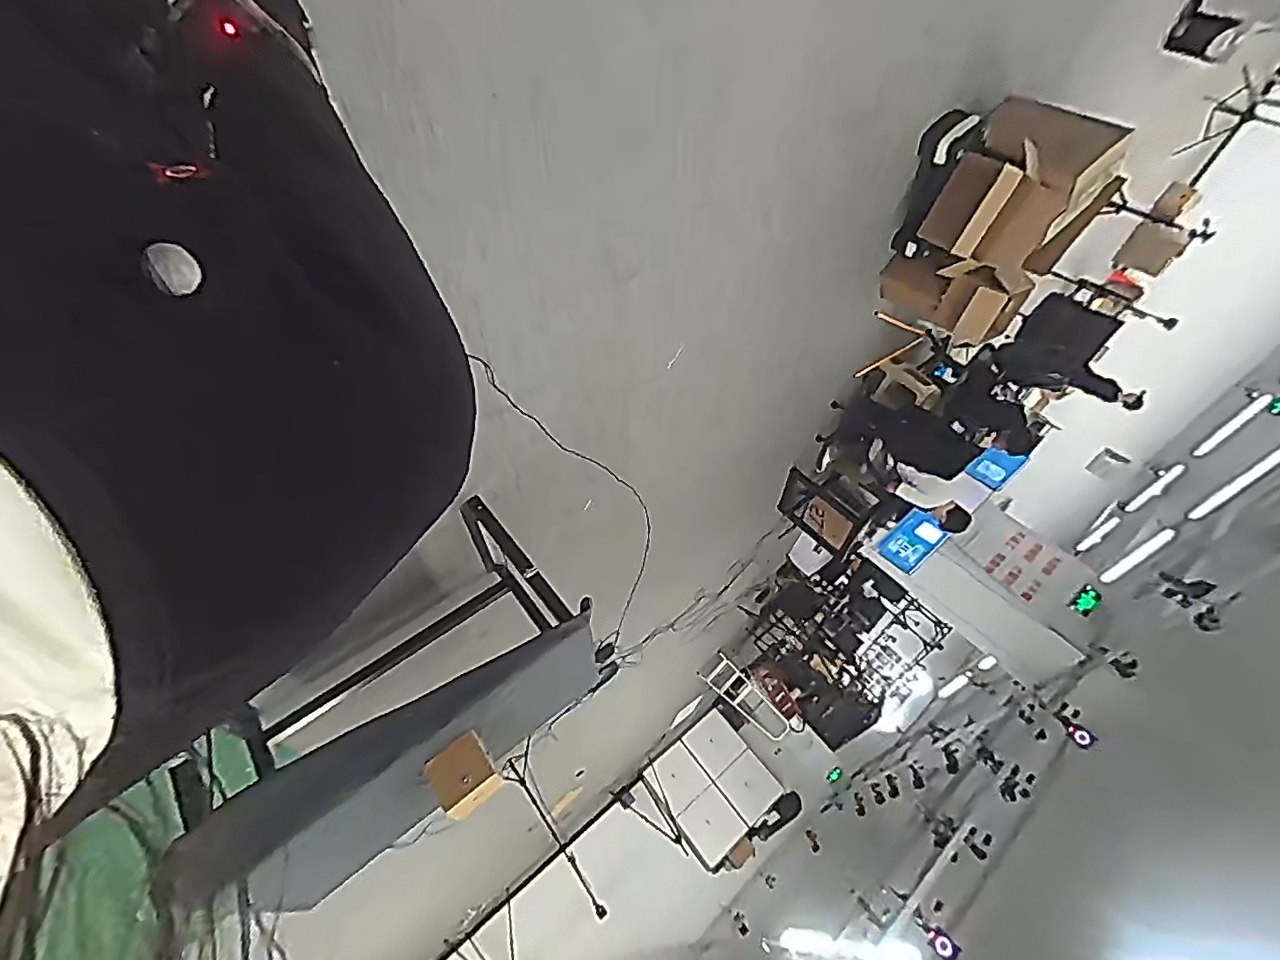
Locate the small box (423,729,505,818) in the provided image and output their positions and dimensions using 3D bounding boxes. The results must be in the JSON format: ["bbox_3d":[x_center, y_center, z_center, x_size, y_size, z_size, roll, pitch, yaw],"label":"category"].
[{"bbox_3d":[-0.563,0.937,1.733,0.179,0.176,0.168,-32,148,-23],"label":"small box"}]
